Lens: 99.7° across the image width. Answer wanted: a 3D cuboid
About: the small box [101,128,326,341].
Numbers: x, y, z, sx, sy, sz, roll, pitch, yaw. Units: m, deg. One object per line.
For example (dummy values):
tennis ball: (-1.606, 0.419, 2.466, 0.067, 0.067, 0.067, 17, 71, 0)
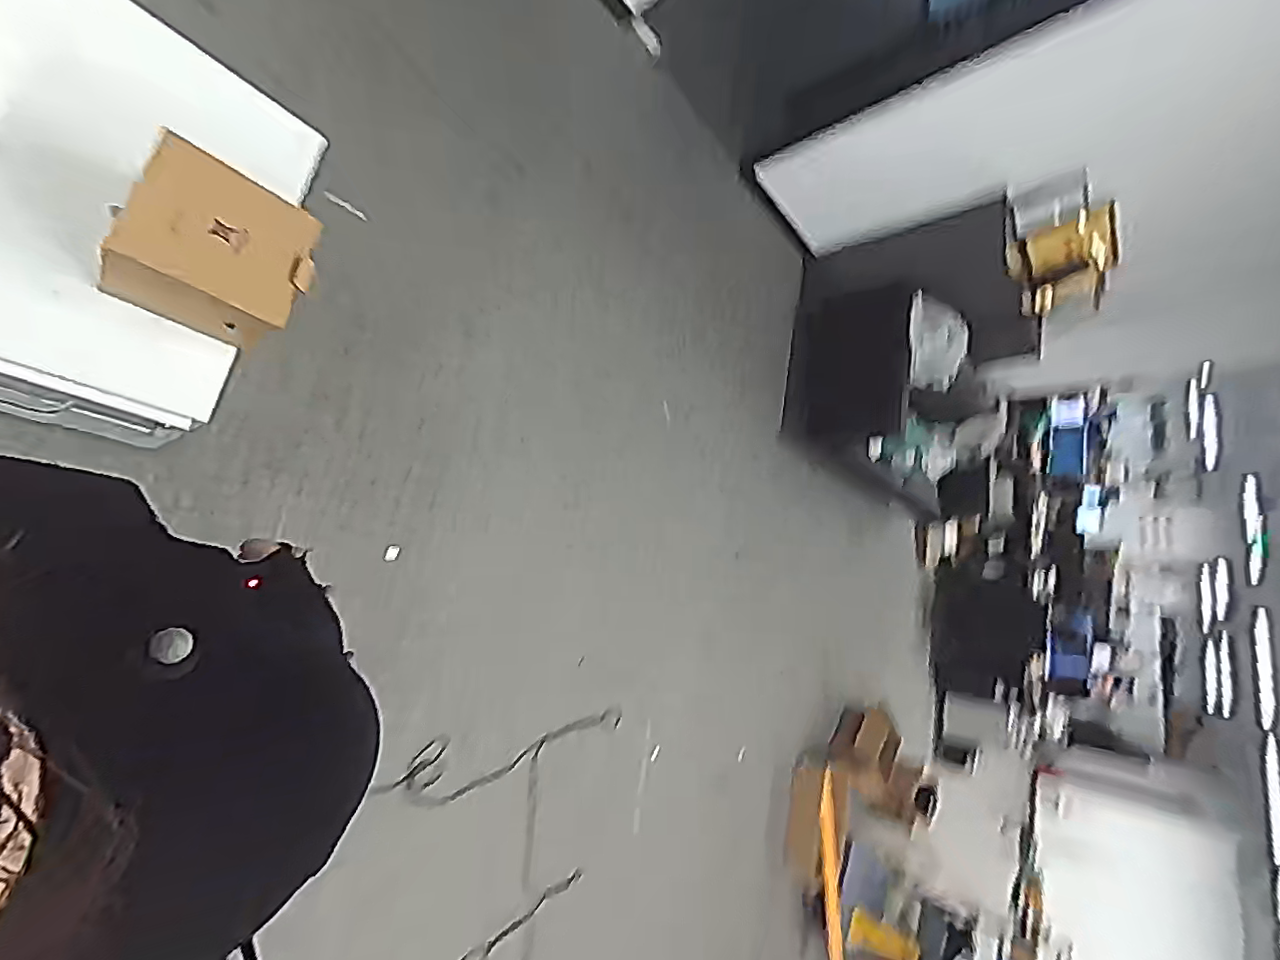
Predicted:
small box: (-0.556, -0.299, 0.708, 0.179, 0.176, 0.168, 26, 69, -43)
